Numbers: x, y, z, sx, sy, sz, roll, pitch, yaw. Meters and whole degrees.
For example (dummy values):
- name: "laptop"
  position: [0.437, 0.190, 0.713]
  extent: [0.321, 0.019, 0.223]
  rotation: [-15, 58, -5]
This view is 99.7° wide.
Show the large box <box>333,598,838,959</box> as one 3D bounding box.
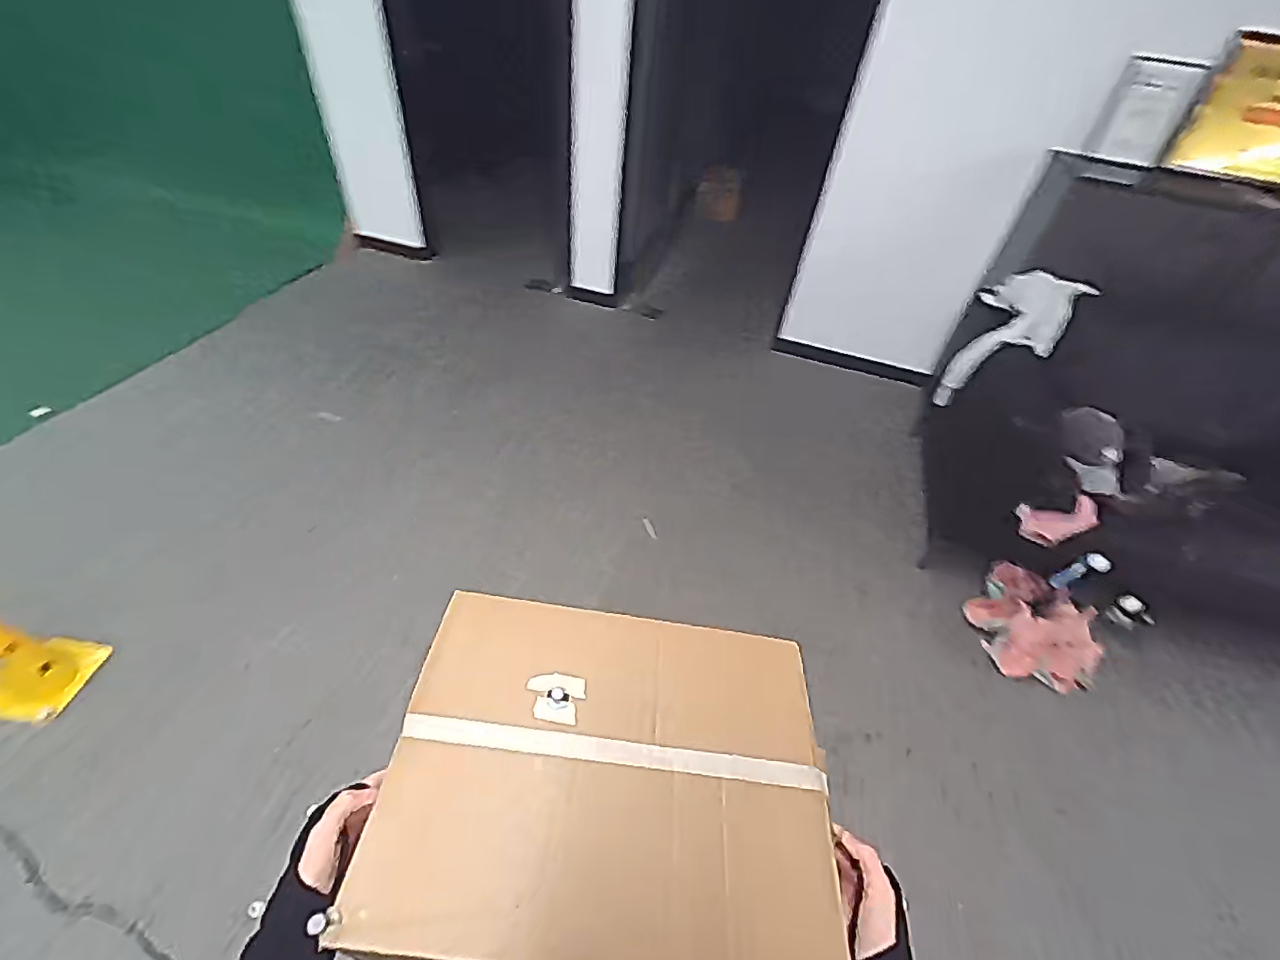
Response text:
- name: "large box"
  position: [-0.048, 0.371, 0.628]
  extent: [0.408, 0.320, 0.320]
  rotation: [8, 43, -3]
